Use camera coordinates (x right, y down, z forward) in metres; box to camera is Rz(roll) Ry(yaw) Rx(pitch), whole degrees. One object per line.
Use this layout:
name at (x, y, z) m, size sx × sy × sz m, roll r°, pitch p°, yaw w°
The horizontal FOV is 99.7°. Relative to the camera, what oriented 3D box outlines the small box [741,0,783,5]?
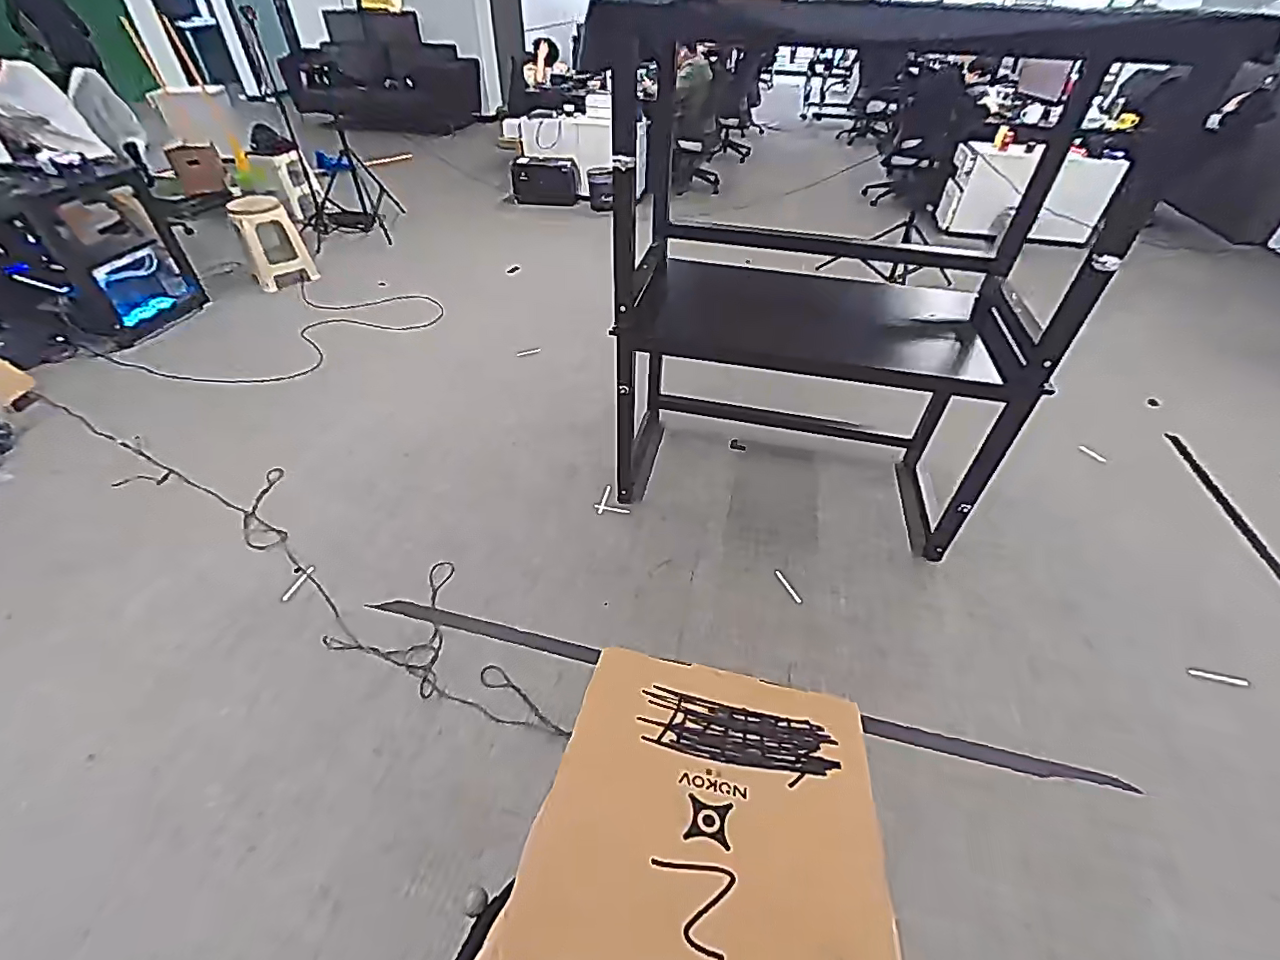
small box at (0.226, -1.080, 1.092) m, size 0.168 × 0.176 × 0.179 m, roll 10°, pitch 42°, yaw 7°
